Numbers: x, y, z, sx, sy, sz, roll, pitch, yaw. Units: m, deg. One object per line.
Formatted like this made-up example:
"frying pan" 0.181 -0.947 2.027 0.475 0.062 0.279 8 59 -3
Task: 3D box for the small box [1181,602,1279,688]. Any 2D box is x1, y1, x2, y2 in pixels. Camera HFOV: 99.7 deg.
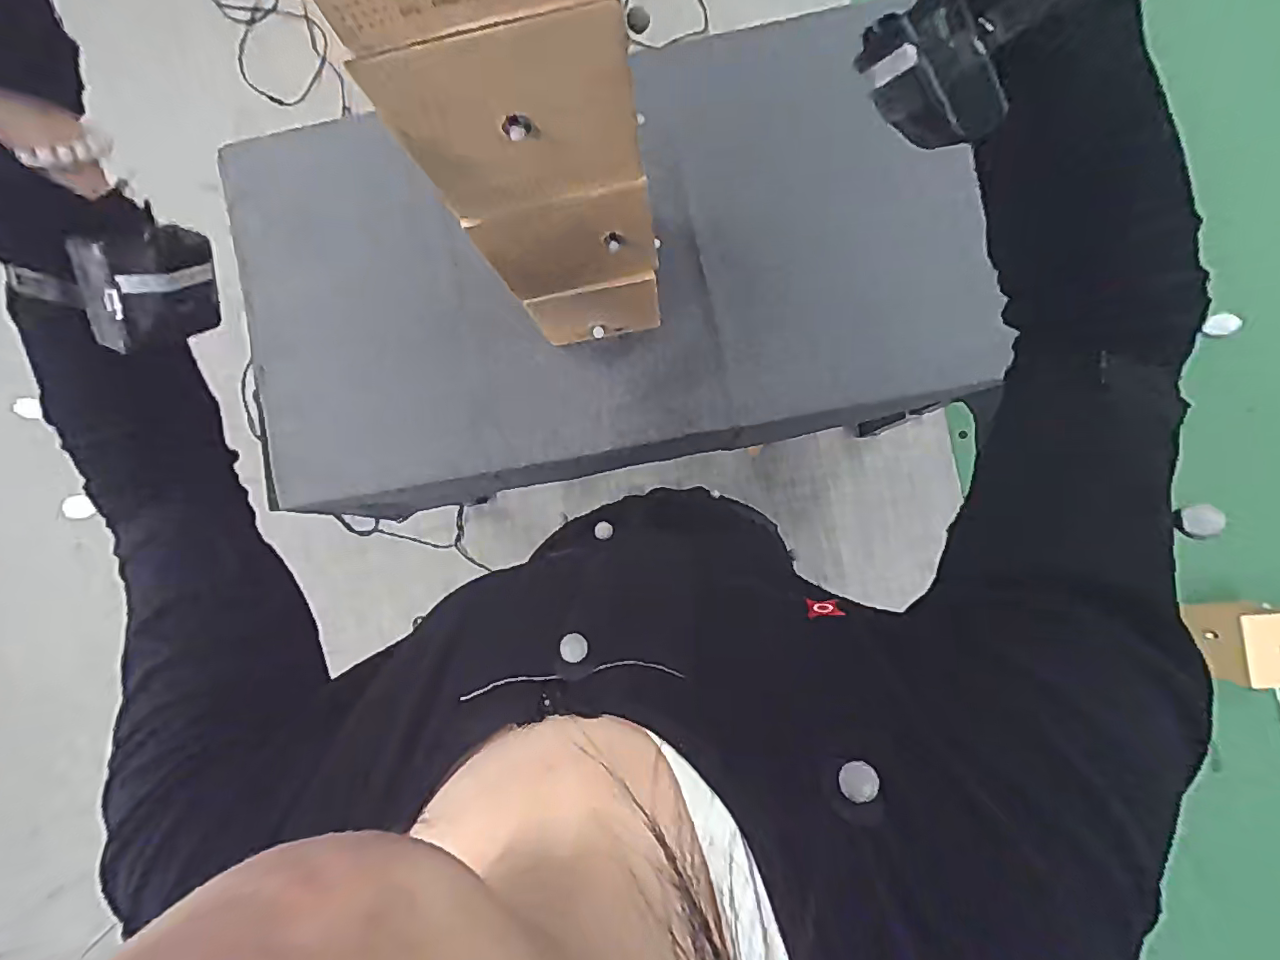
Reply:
"small box" 1.460 0.390 1.296 0.179 0.176 0.168 -5 85 3

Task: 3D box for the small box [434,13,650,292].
"small box" -0.087 -0.322 0.567 0.179 0.176 0.168 -12 84 4

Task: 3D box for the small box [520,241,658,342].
"small box" -0.070 -0.307 0.729 0.168 0.176 0.179 -9 86 4

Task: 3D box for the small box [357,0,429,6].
"small box" -0.117 -0.369 0.245 0.168 0.176 0.179 -11 84 4
